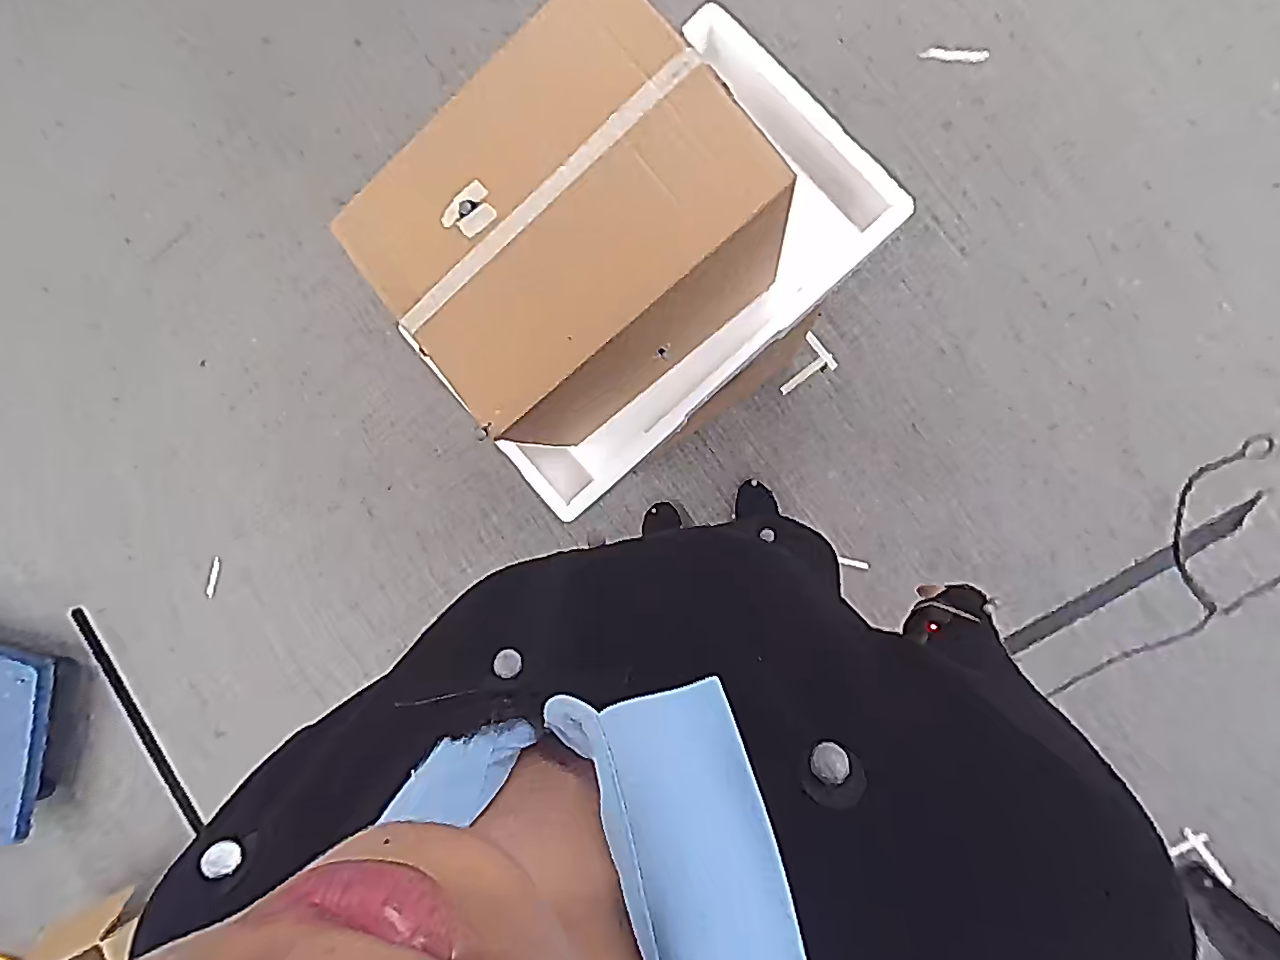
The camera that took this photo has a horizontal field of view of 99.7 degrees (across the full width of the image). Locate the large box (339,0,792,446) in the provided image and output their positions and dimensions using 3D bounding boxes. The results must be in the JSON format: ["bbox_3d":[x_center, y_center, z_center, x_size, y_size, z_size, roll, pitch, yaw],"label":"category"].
[{"bbox_3d":[-0.068,-0.287,0.702,0.408,0.320,0.320,-40,84,10],"label":"large box"}]
